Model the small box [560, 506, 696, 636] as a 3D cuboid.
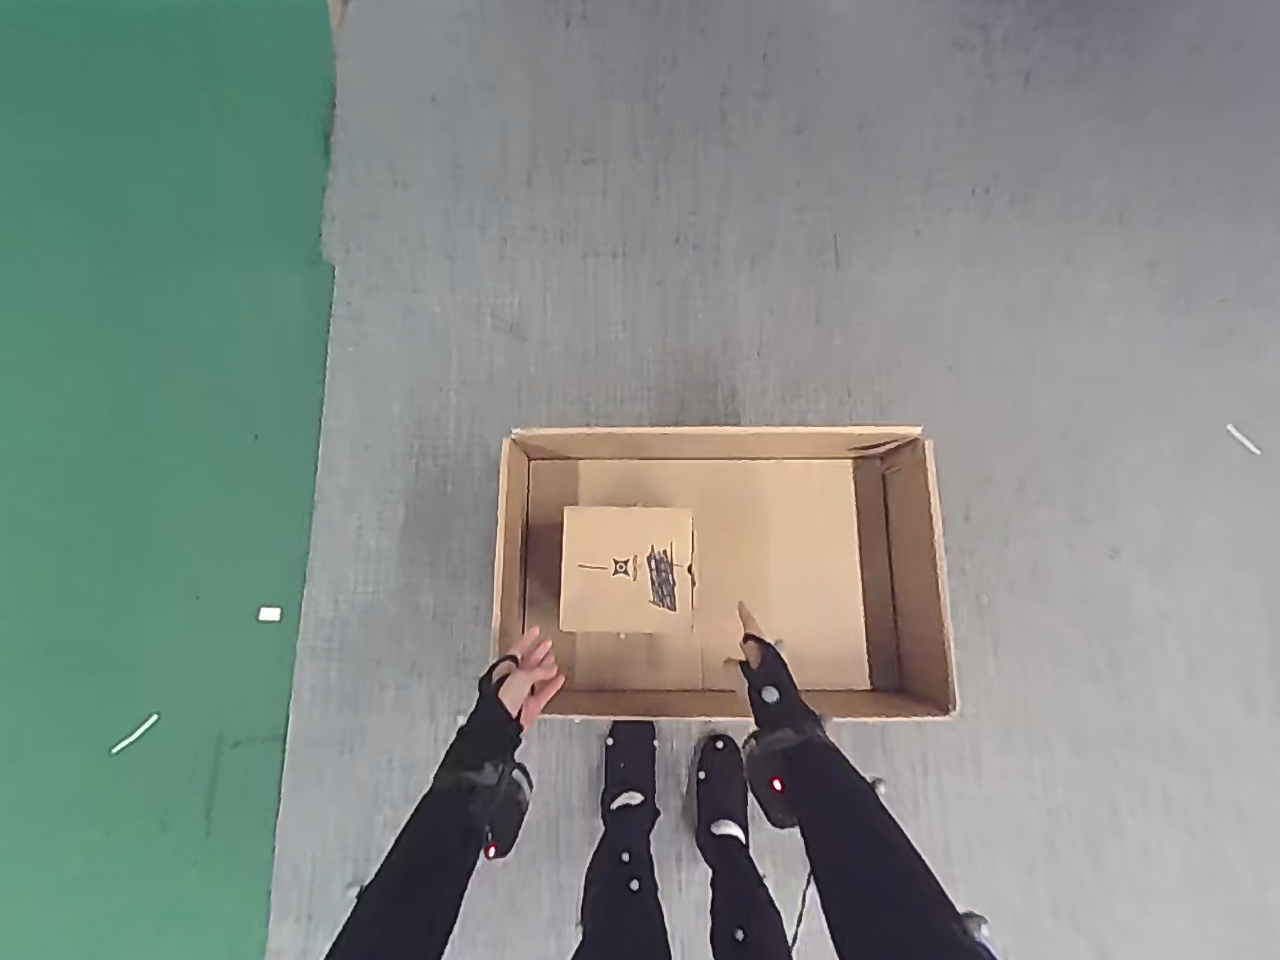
[{"bbox_3d":[-0.015,0.133,0.787,0.179,0.176,0.168,1,78,1],"label":"small box"}]
